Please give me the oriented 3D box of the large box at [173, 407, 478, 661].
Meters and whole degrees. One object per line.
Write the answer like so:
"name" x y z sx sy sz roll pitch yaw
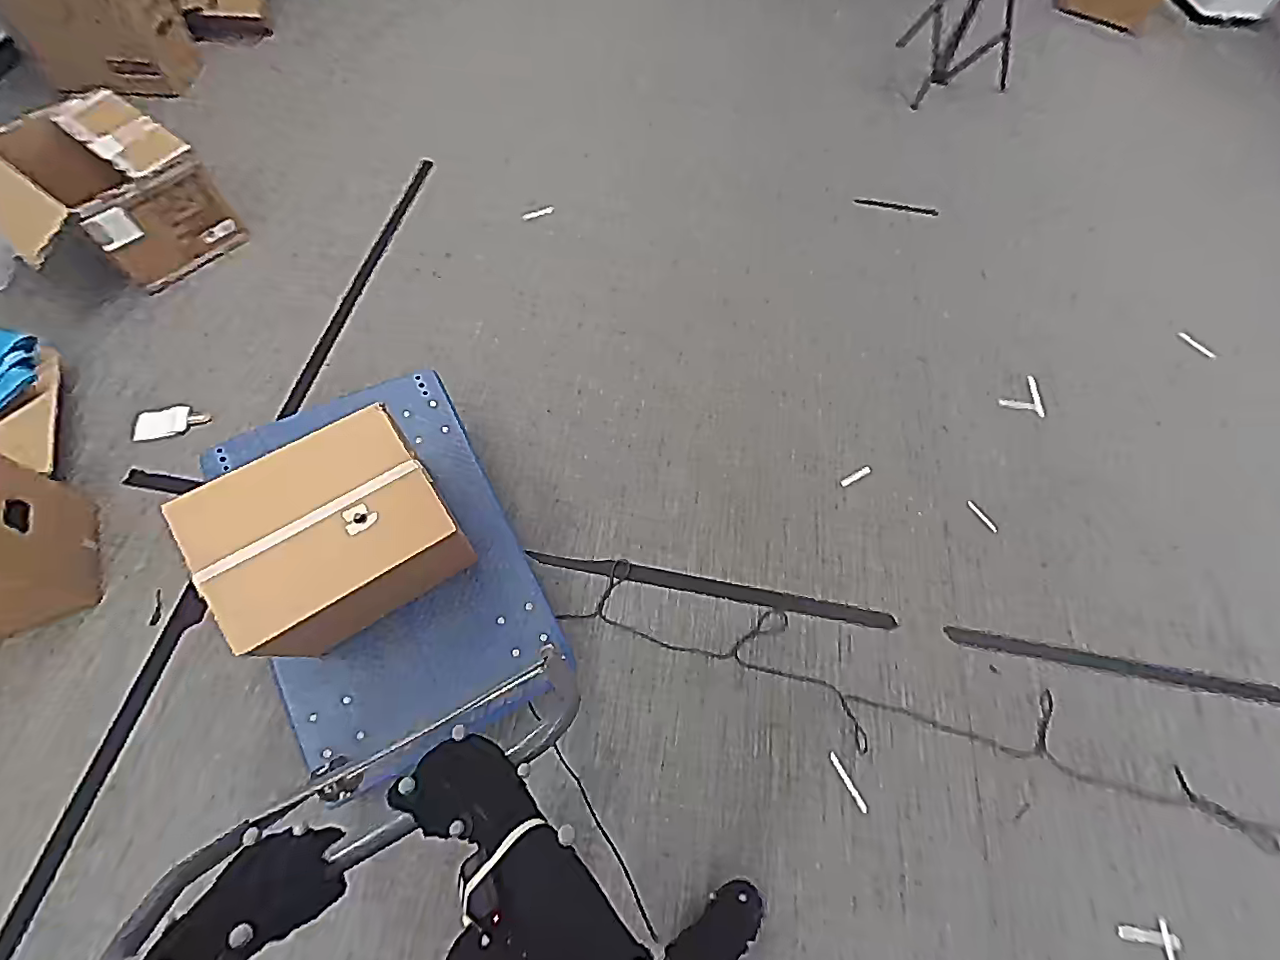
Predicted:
"large box" -0.608 0.125 1.126 0.408 0.320 0.320 -32 79 -19
